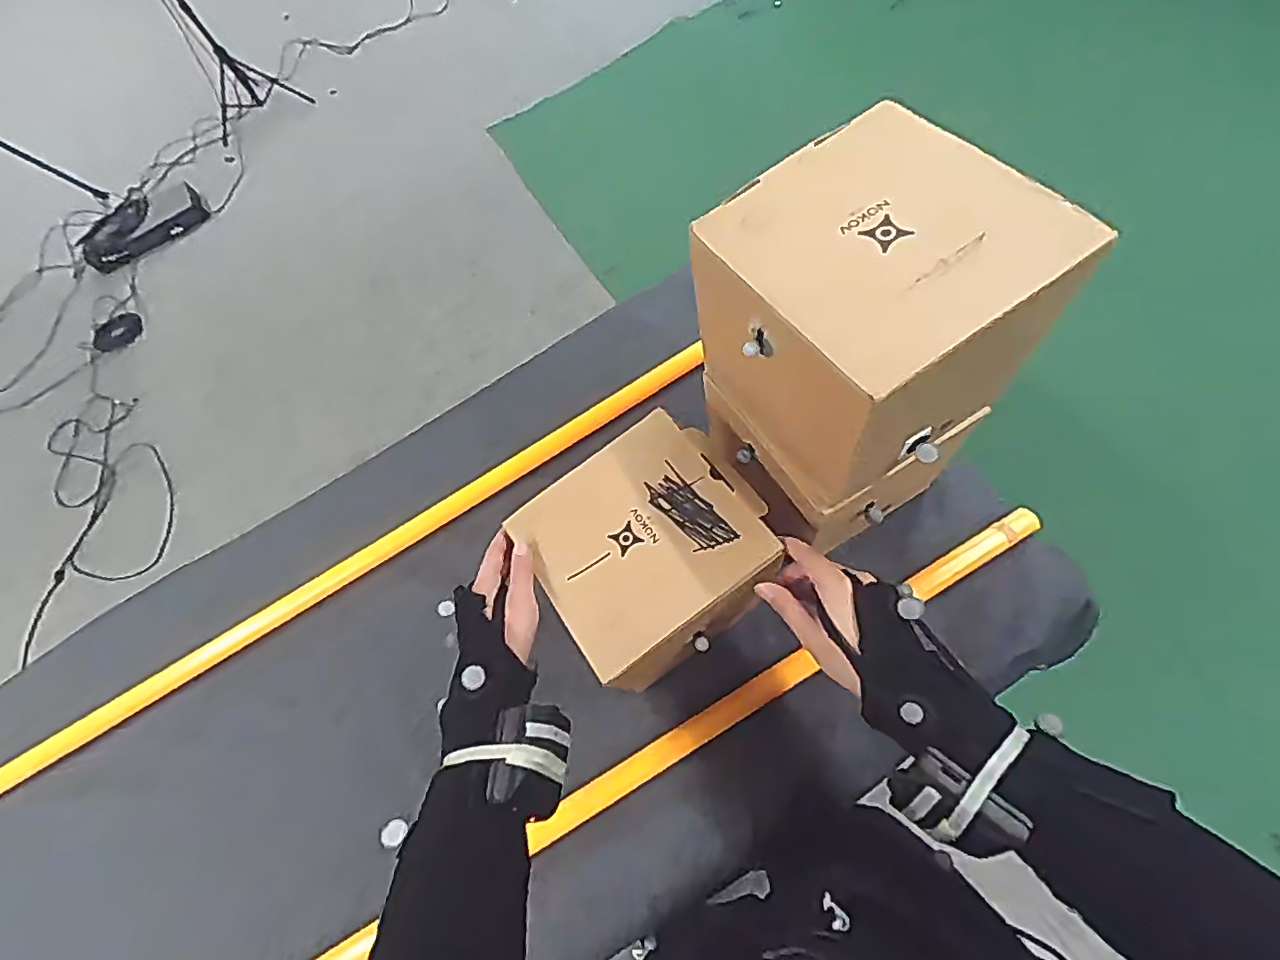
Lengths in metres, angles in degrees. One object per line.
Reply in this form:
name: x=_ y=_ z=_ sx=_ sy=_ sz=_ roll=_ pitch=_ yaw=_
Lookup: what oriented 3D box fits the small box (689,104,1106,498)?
small box: x=0.156 y=-0.117 z=0.394 sx=0.168 sy=0.176 sz=0.179 roll=-34 pitch=64 yaw=-4
